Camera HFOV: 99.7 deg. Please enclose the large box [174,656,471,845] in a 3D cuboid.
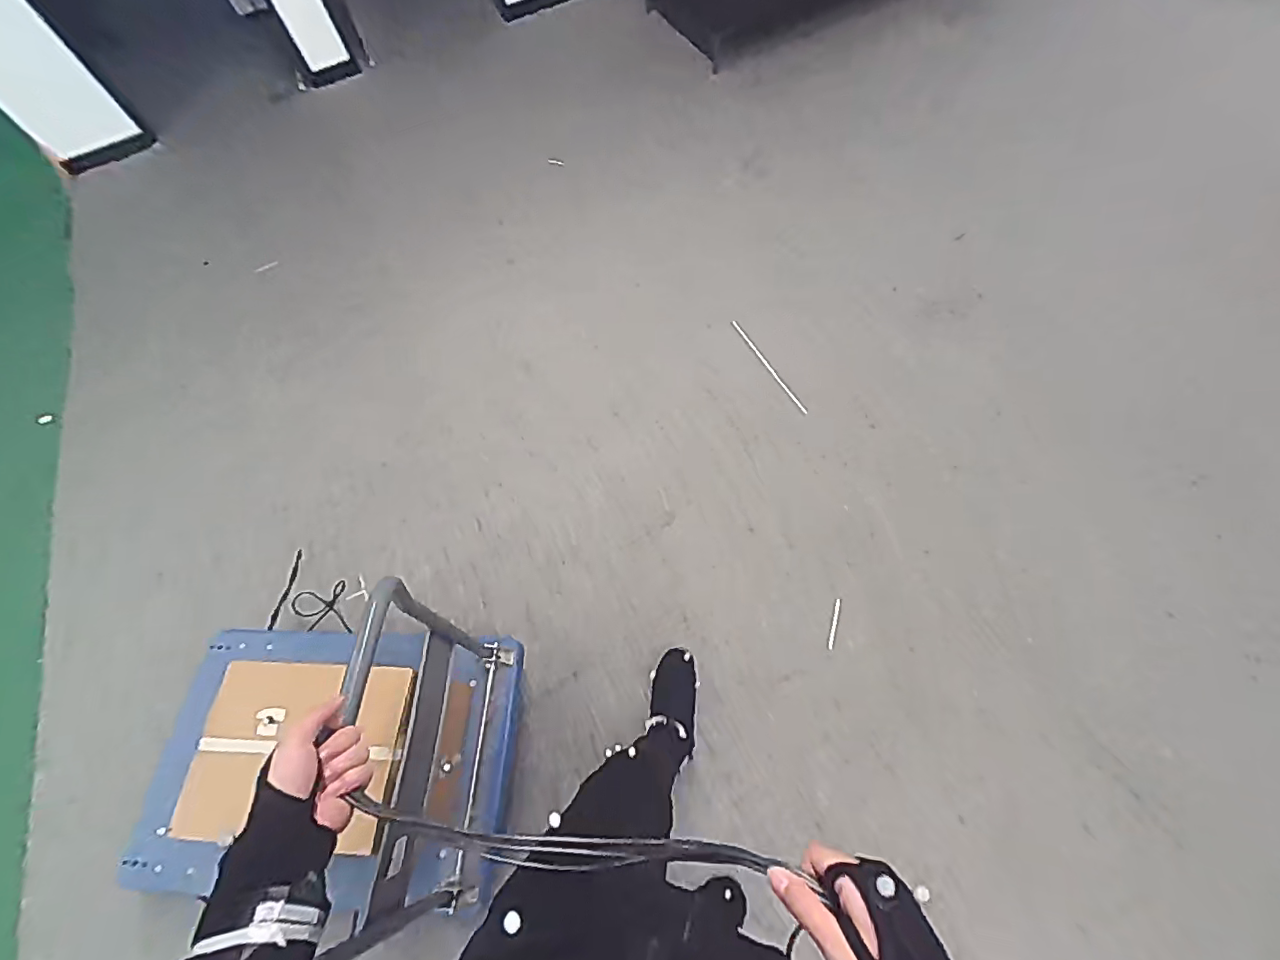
[{"bbox_3d":[-0.628,0.563,1.156,0.408,0.320,0.320,0,63,7],"label":"large box"}]
